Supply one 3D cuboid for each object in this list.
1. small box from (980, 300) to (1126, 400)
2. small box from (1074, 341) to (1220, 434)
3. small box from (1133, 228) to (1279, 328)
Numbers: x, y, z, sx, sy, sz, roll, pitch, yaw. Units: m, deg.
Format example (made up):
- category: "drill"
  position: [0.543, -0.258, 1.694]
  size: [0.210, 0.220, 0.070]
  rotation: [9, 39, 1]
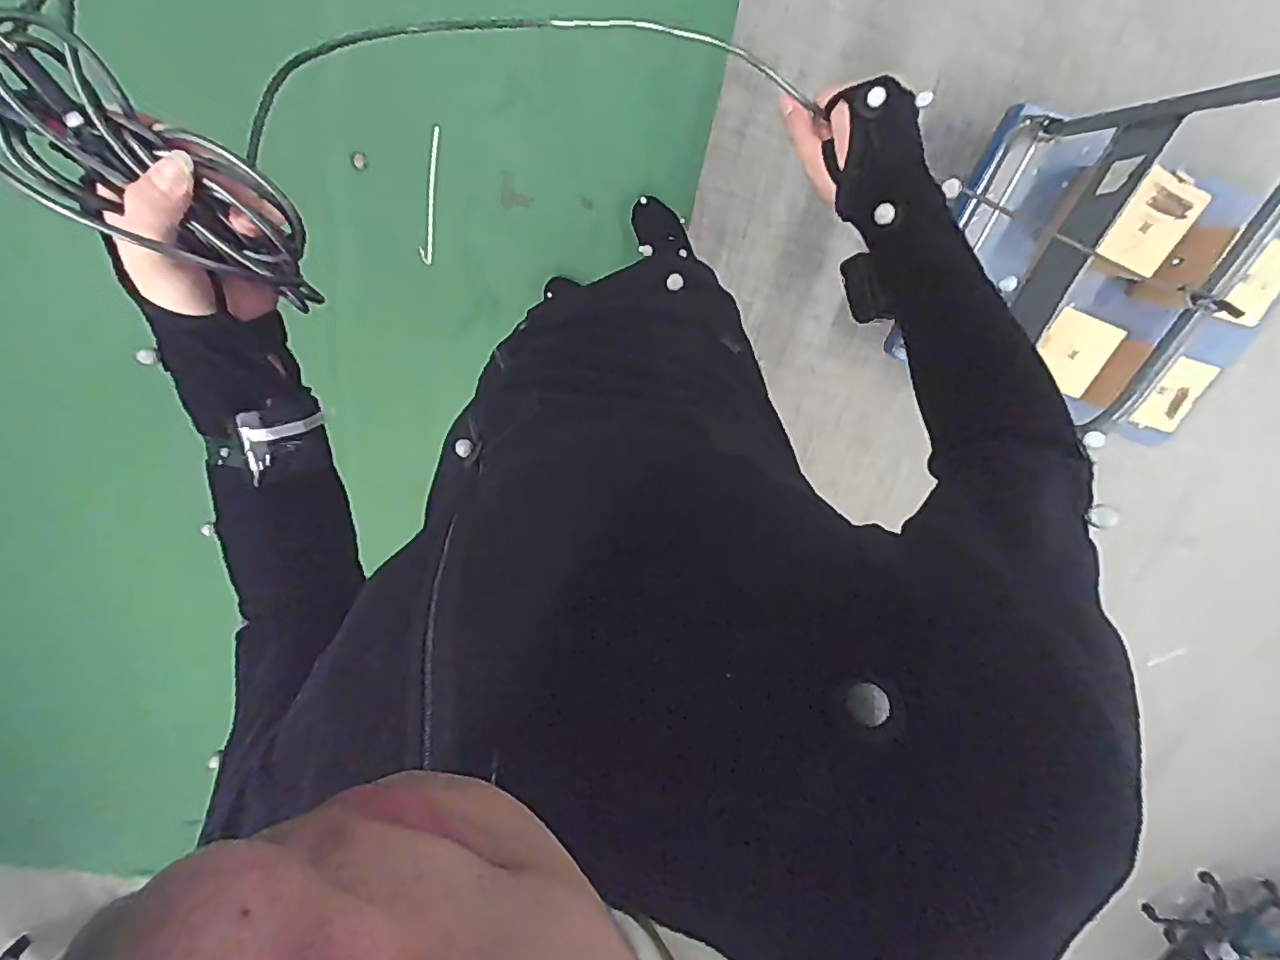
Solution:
- category: "small box"
  position: [0.967, -0.315, 1.282]
  size: [0.179, 0.176, 0.168]
  rotation: [17, 115, -8]
- category: "small box"
  position: [1.216, -0.235, 1.322]
  size: [0.179, 0.176, 0.168]
  rotation: [15, 115, -7]
- category: "small box"
  position: [1.284, -0.457, 1.212]
  size: [0.179, 0.176, 0.168]
  rotation: [13, 116, -7]
